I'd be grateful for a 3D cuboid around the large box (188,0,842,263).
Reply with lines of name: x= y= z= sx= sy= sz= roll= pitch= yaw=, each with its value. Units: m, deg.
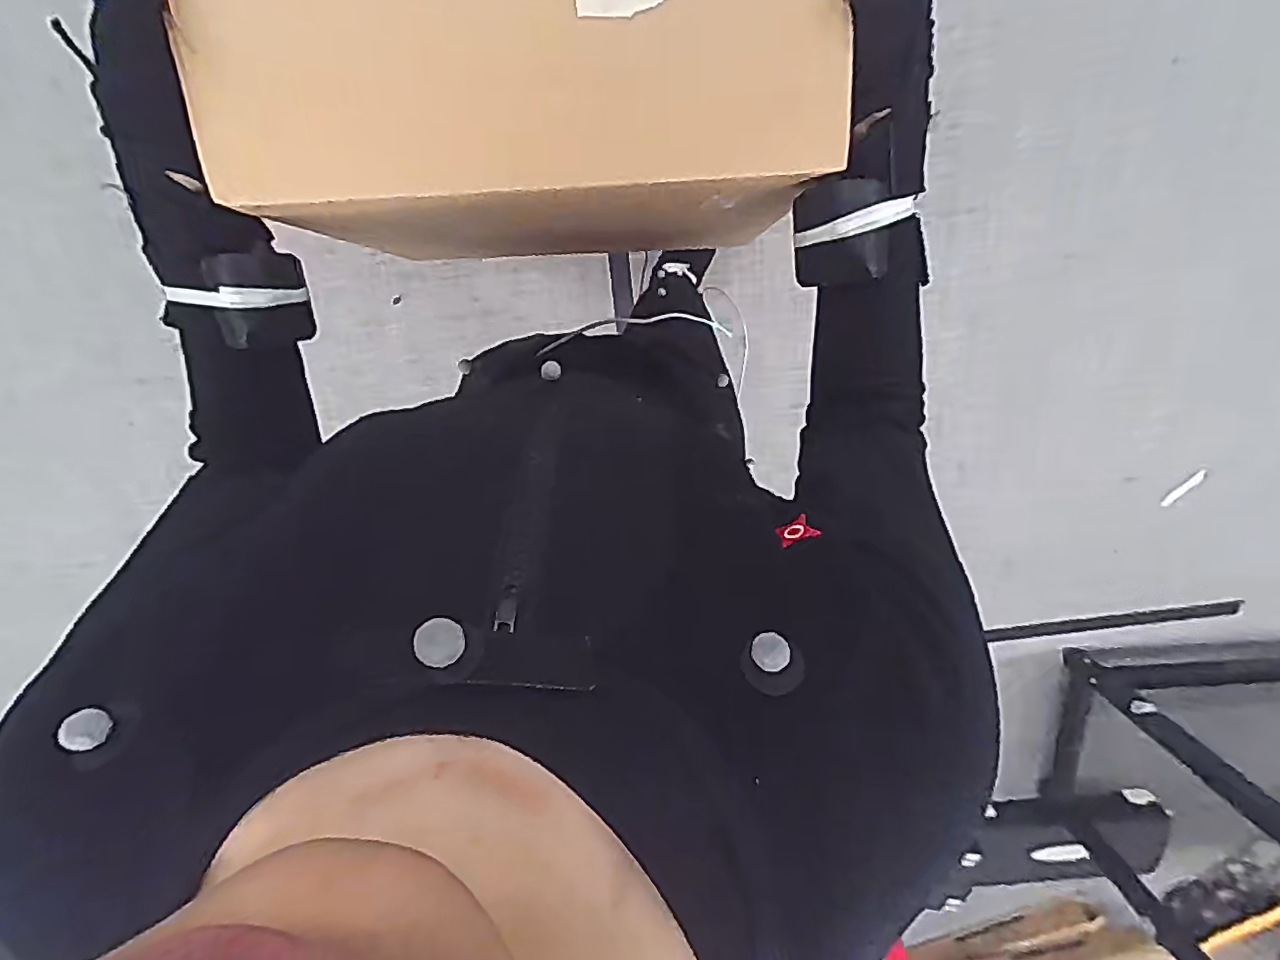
large box: x=-0.080 y=-0.378 z=0.459 sx=0.408 sy=0.320 sz=0.320 roll=-3 pitch=106 yaw=0
